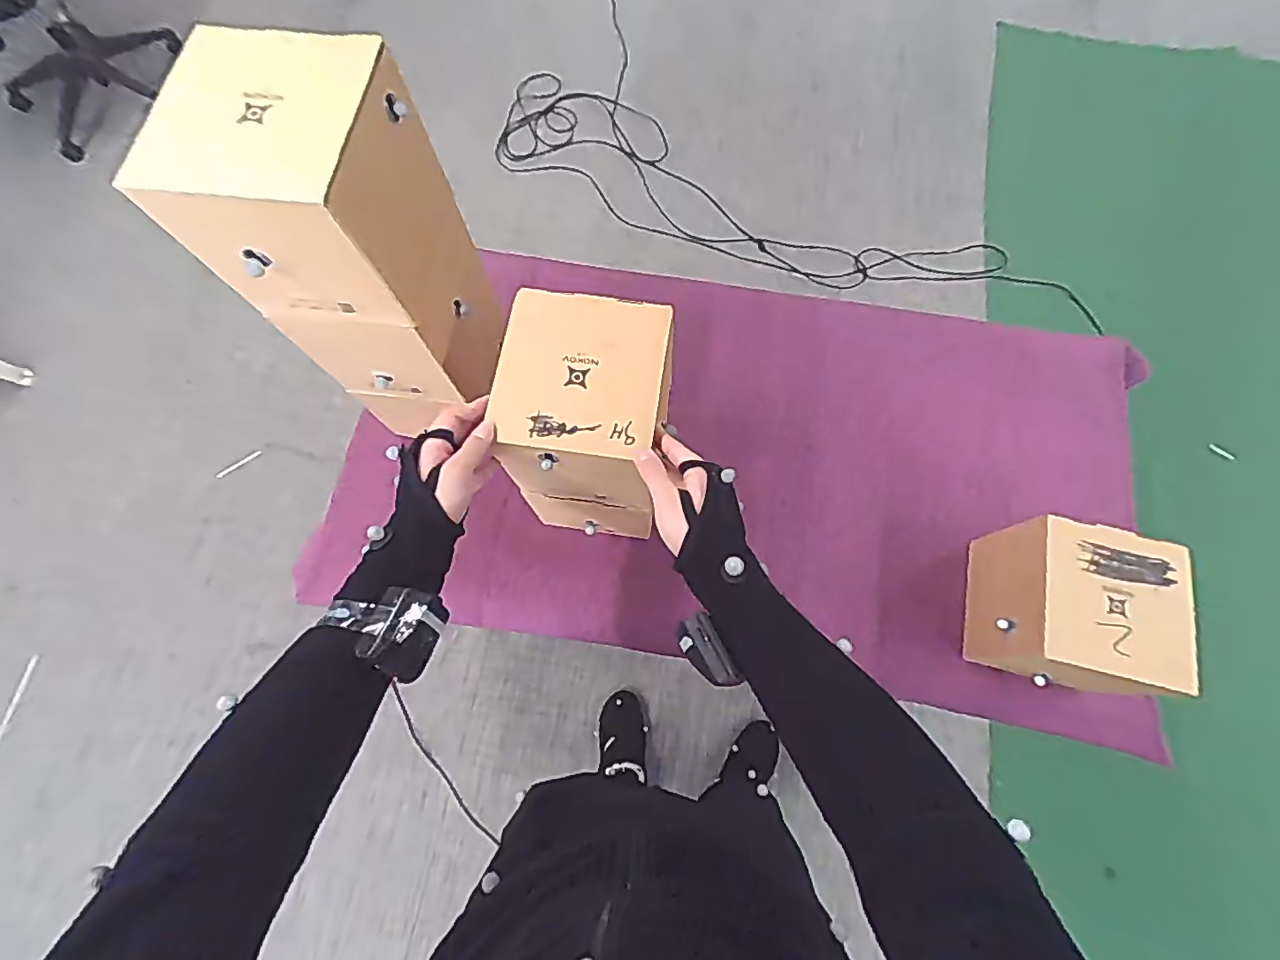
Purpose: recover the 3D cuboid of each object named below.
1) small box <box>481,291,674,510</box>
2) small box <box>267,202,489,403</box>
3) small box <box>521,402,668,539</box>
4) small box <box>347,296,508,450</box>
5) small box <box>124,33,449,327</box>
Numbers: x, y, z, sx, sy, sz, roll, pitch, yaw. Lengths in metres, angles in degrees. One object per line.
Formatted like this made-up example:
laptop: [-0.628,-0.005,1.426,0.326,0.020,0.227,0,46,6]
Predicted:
small box: [-0.057,-0.081,0.610,0.168,0.176,0.179,8,72,5]
small box: [-0.297,-0.215,0.659,0.168,0.176,0.179,7,73,3]
small box: [-0.056,-0.028,0.768,0.168,0.176,0.179,8,73,3]
small box: [-0.297,-0.164,0.814,0.168,0.176,0.179,7,73,3]
small box: [-0.299,-0.264,0.504,0.168,0.176,0.179,6,72,3]
